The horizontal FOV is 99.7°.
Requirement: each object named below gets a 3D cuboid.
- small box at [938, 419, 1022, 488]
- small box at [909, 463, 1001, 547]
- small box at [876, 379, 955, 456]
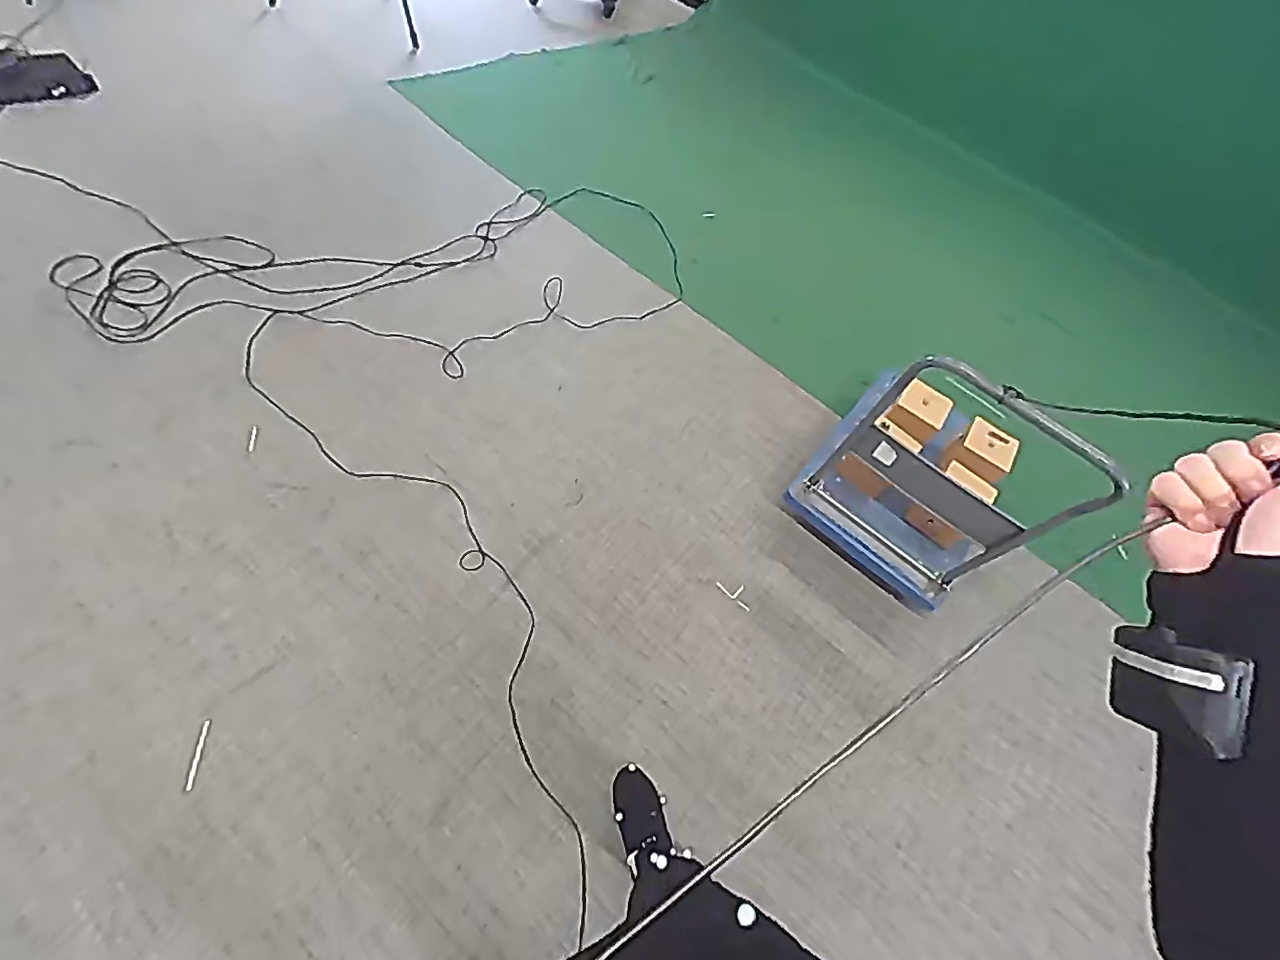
[{"bbox_3d":[1.177,-0.073,1.881,0.168,0.176,0.179,36,58,12],"label":"small box"},{"bbox_3d":[1.006,0.083,1.741,0.168,0.176,0.179,40,59,14],"label":"small box"},{"bbox_3d":[0.976,-0.218,1.928,0.168,0.176,0.179,37,57,11],"label":"small box"}]
